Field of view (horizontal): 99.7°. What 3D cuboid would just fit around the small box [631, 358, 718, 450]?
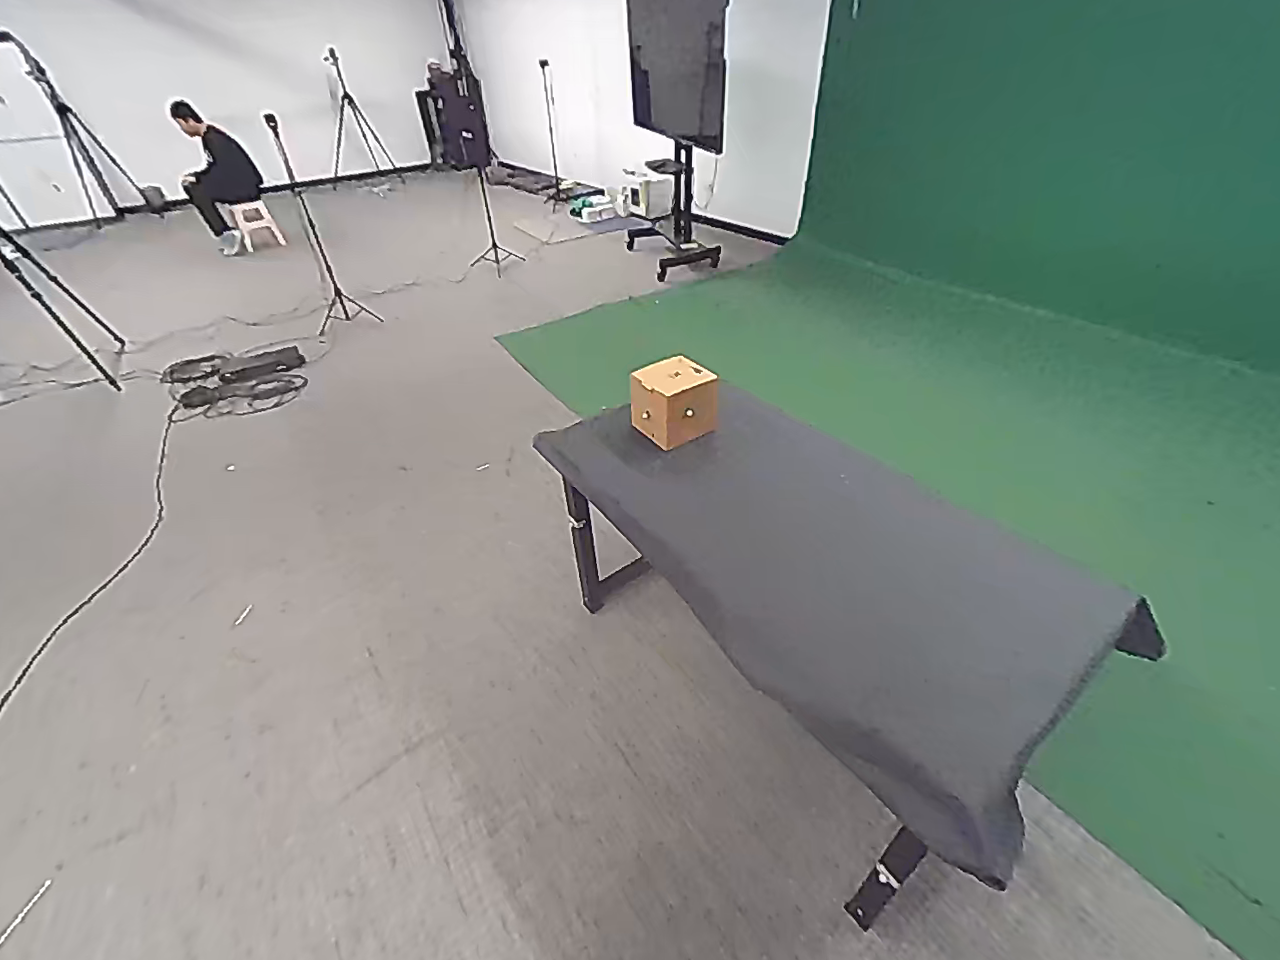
[{"bbox_3d":[0.096,-0.207,1.484,0.179,0.176,0.168,-25,45,-25],"label":"small box"}]
